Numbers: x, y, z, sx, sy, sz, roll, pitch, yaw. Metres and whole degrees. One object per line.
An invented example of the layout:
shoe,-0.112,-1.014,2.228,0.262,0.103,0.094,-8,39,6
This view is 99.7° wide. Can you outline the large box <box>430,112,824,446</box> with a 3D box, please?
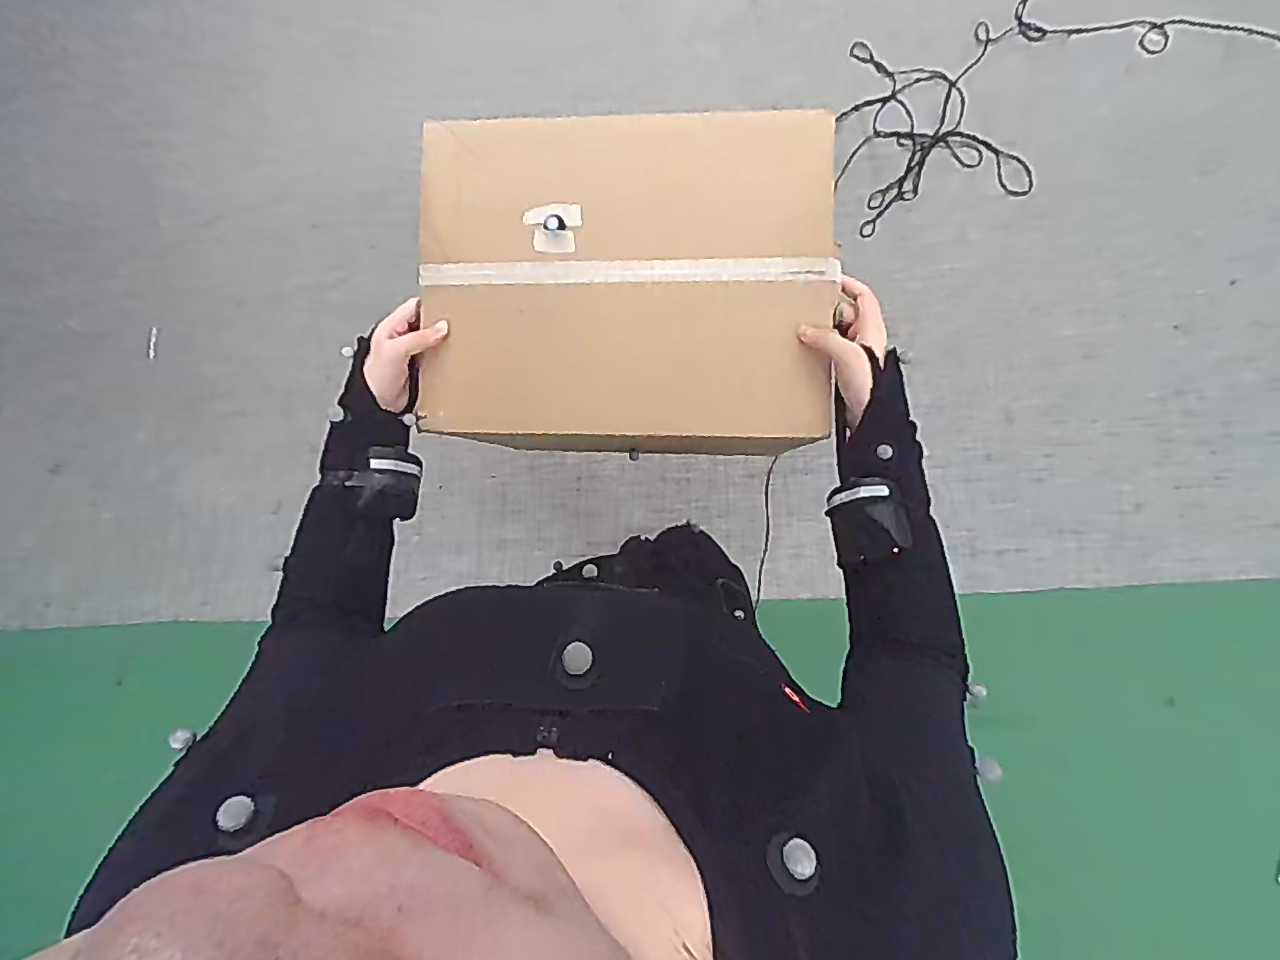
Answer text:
large box,-0.003,-0.204,0.689,0.408,0.320,0.320,1,90,6
